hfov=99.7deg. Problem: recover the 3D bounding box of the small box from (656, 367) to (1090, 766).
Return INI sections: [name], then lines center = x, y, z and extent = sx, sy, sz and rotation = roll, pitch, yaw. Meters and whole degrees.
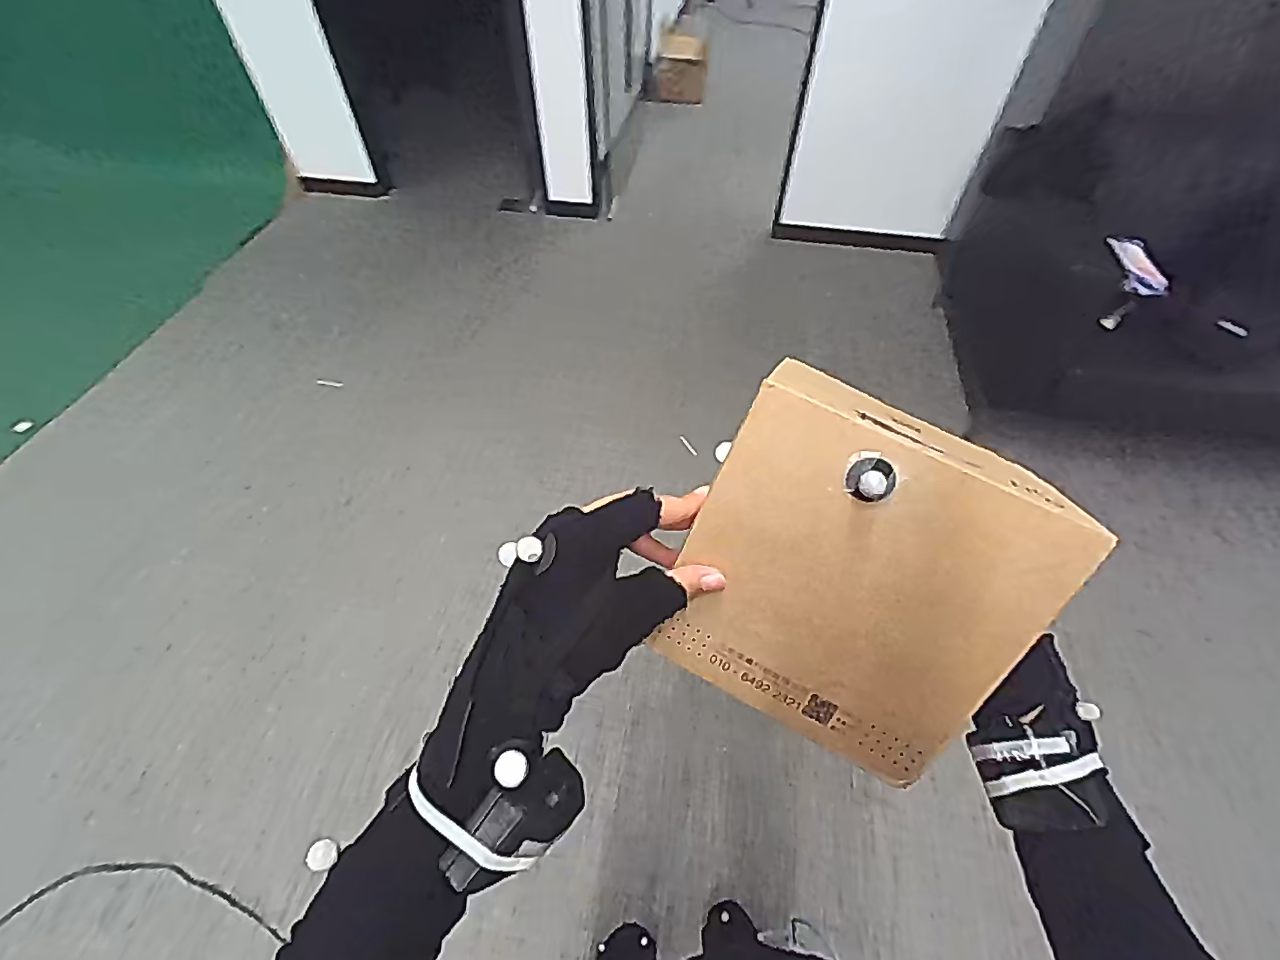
[small box]
center = 0.126, 0.038, 0.360
extent = 0.168, 0.176, 0.179
rotation = 25, 20, 10
